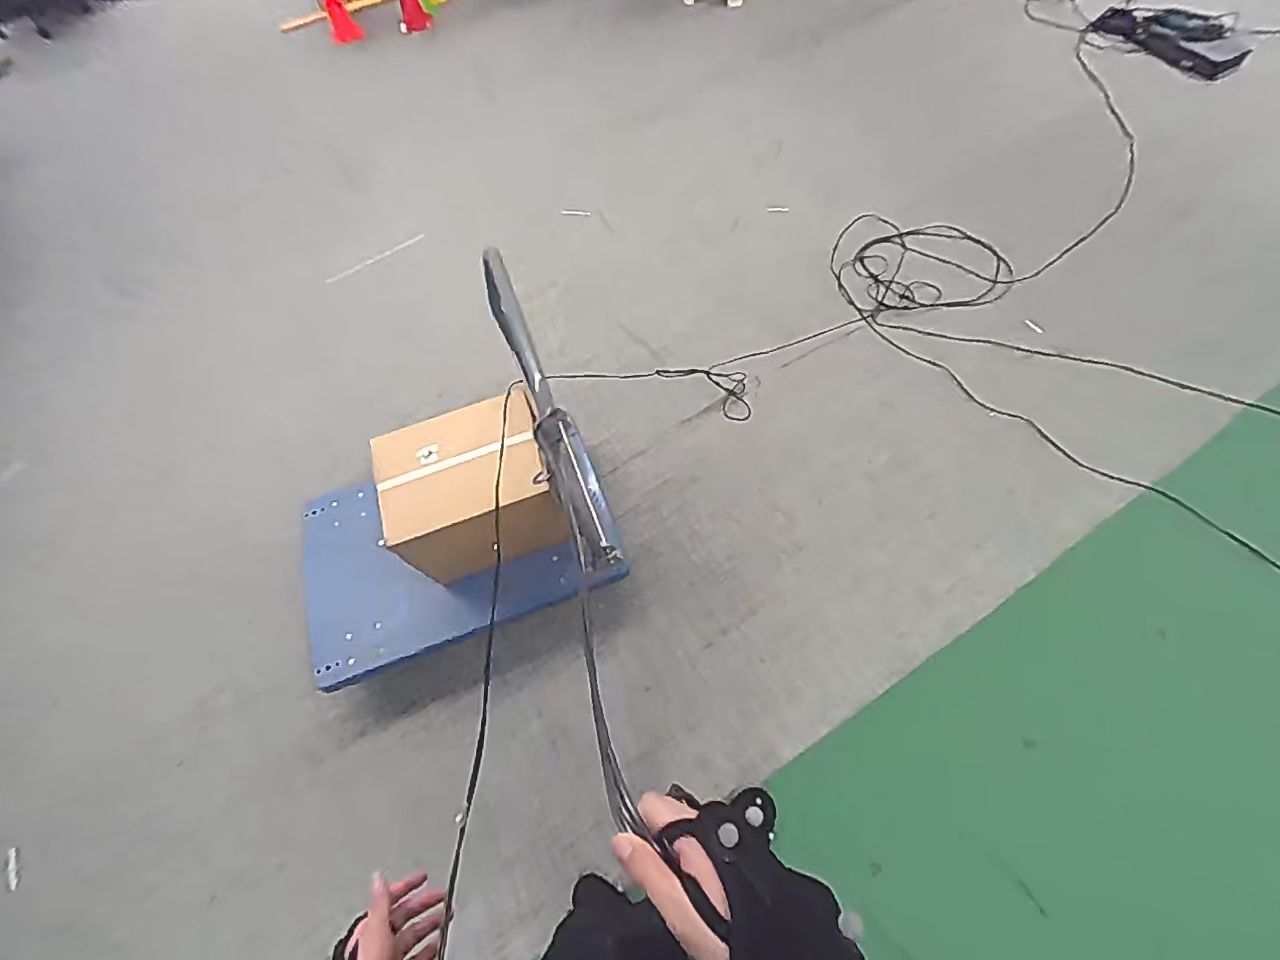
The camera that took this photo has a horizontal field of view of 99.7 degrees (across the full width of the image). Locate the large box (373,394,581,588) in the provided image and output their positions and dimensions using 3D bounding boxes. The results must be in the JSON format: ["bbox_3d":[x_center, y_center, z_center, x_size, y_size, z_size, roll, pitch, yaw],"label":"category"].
[{"bbox_3d":[-0.411,0.039,1.416,0.408,0.320,0.320,-20,62,-4],"label":"large box"}]
